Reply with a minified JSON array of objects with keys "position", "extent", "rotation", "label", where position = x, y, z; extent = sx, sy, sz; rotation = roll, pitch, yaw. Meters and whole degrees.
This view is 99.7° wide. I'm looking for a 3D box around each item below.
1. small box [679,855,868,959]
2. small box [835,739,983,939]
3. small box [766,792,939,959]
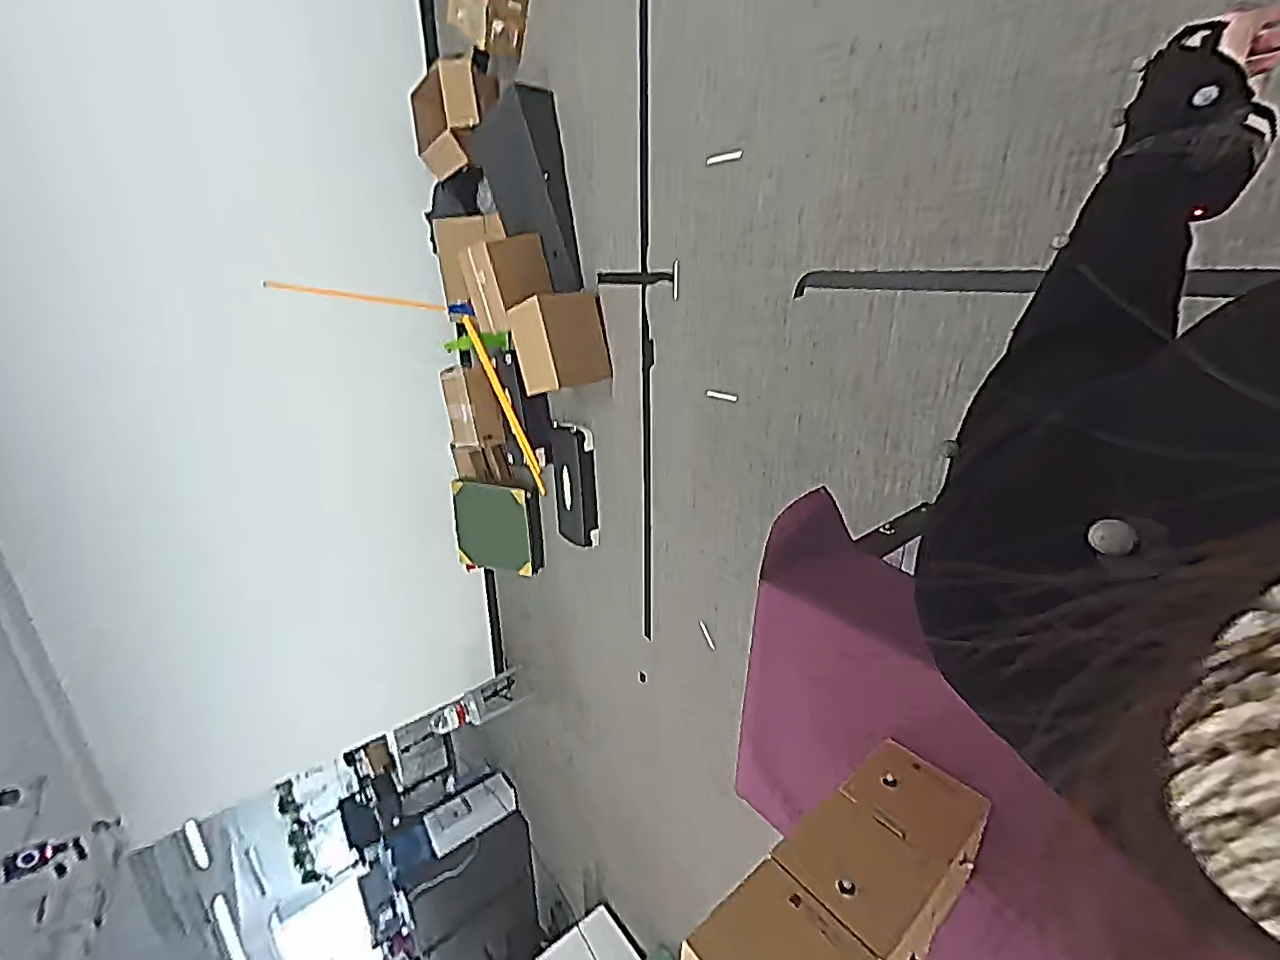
[{"position":[0.165,0.637,0.680],"extent":[0.168,0.176,0.179],"rotation":[23,121,47],"label":"small box"},{"position":[0.422,0.563,0.871],"extent":[0.168,0.176,0.179],"rotation":[23,121,47],"label":"small box"},{"position":[0.296,0.596,0.771],"extent":[0.179,0.176,0.168],"rotation":[22,119,47],"label":"small box"}]
